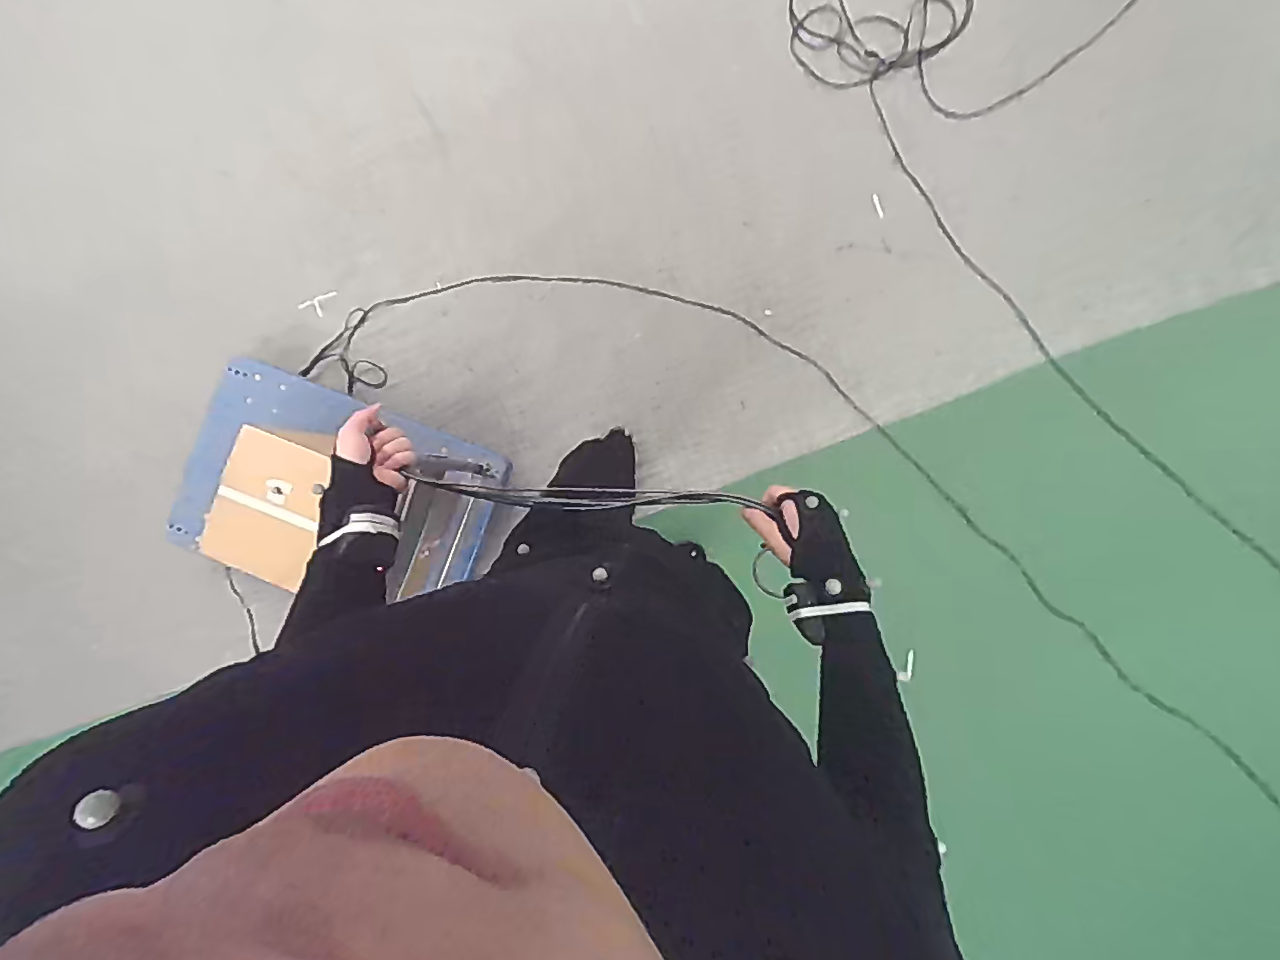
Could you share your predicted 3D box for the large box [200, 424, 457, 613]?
[{"bbox_3d":[-0.737,0.084,1.339,0.408,0.320,0.320,21,90,4],"label":"large box"}]
